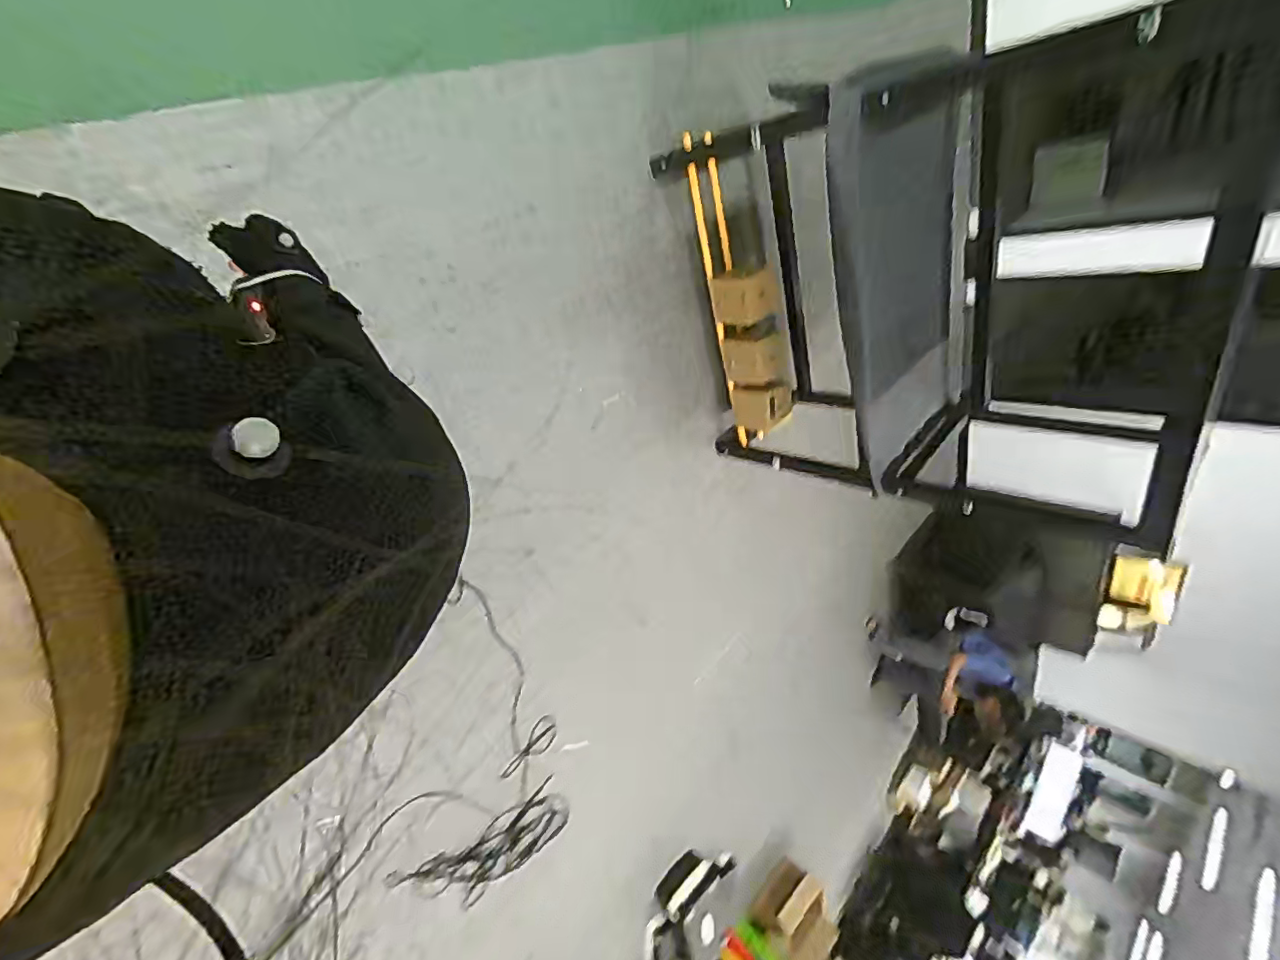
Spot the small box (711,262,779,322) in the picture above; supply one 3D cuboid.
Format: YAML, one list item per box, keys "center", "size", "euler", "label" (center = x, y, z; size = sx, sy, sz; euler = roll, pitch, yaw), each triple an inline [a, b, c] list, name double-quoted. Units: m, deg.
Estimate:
- center: [0.388, -0.696, 1.989]
  size: [0.179, 0.176, 0.168]
  euler: [-33, 125, -28]
  label: "small box"
